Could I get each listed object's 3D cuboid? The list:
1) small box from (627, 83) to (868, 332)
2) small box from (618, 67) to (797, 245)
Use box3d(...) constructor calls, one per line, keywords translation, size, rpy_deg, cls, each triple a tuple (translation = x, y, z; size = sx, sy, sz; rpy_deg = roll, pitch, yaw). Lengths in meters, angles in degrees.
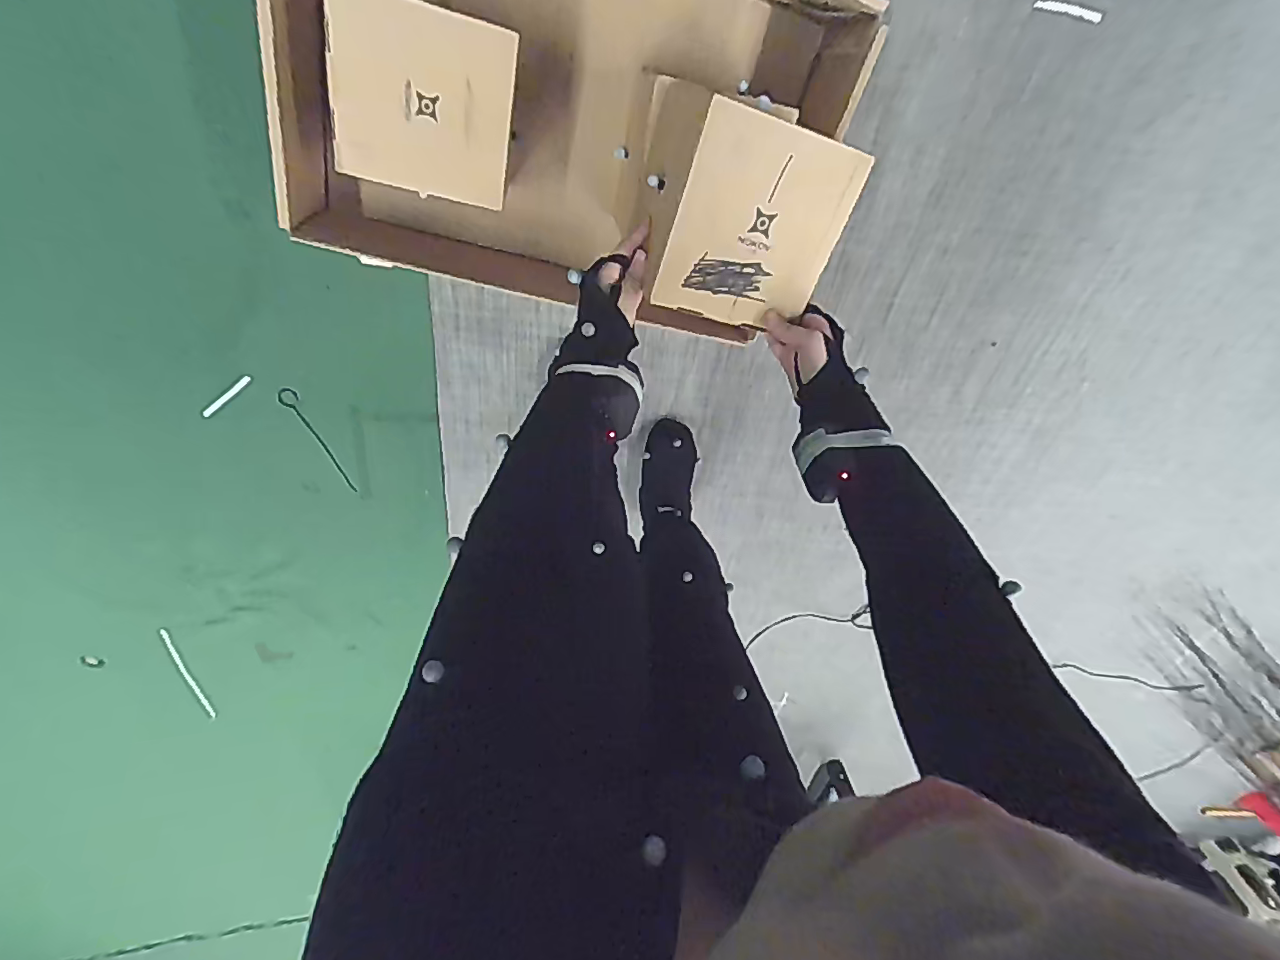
box3d(translation=(0.091, -0.282, 0.562), size=(0.168, 0.176, 0.179), rpy_deg=(8, 125, -18), cls="small box")
box3d(translation=(0.068, -0.396, 0.685), size=(0.168, 0.176, 0.179), rpy_deg=(5, 128, -13), cls="small box")
